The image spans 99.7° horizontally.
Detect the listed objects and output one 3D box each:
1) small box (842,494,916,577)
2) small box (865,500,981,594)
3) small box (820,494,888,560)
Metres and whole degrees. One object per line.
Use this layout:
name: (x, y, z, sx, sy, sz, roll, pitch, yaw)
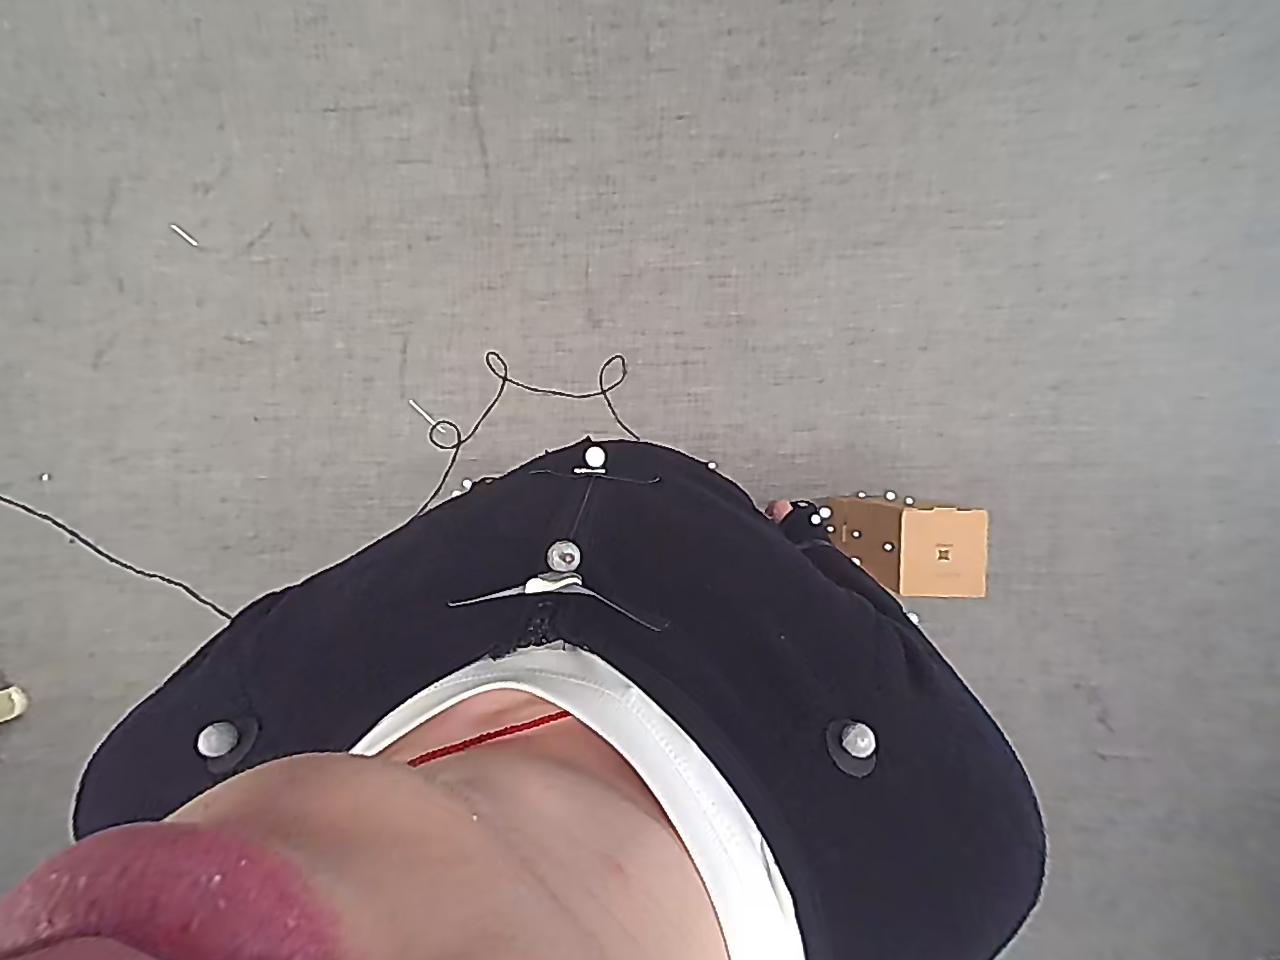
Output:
small box: (0.606, 0.133, 1.318, 0.168, 0.176, 0.179, 2, 94, -1)
small box: (0.597, 0.137, 1.159, 0.168, 0.176, 0.179, 0, 95, 2)
small box: (0.608, 0.127, 1.504, 0.179, 0.176, 0.168, -3, 93, 0)
